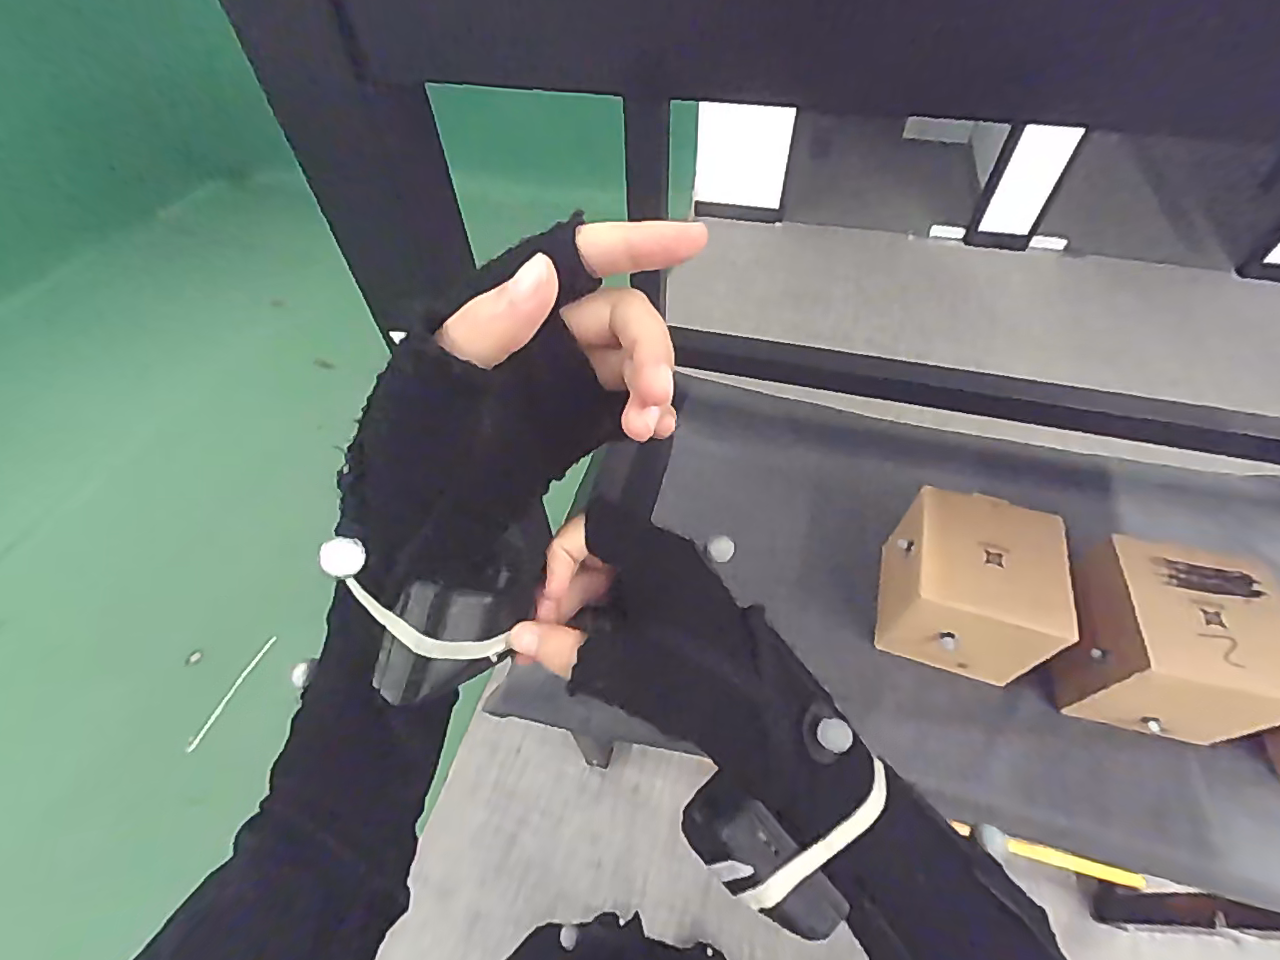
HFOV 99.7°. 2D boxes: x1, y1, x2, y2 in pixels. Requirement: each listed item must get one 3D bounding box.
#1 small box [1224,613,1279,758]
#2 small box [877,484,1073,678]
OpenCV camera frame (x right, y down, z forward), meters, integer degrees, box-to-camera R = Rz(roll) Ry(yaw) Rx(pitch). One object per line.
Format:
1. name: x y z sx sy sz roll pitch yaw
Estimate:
1. small box: 0.850 0.249 0.614 0.168 0.176 0.179 10 53 9
2. small box: 0.429 0.138 0.719 0.168 0.176 0.179 15 54 13
